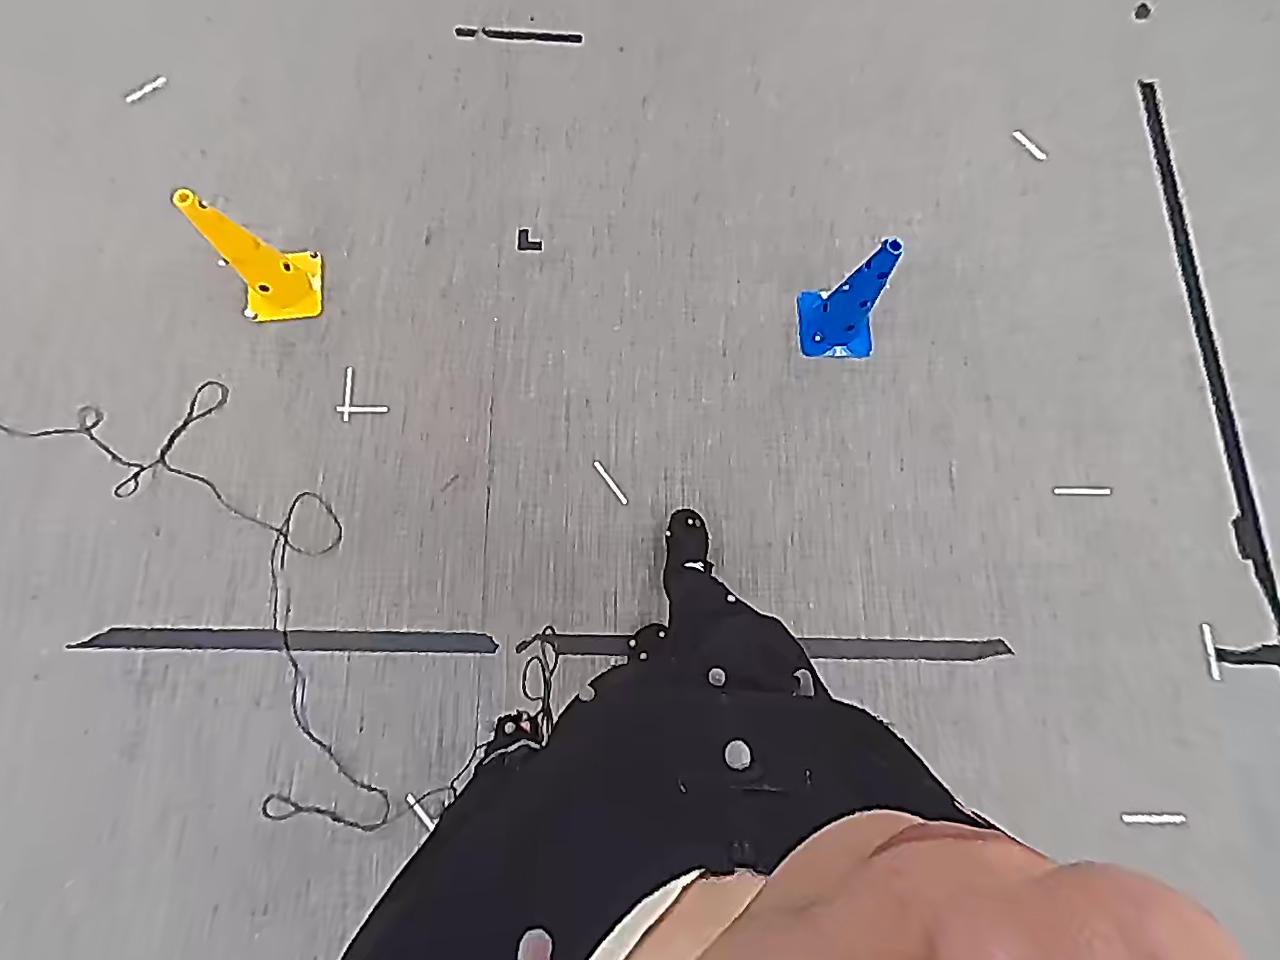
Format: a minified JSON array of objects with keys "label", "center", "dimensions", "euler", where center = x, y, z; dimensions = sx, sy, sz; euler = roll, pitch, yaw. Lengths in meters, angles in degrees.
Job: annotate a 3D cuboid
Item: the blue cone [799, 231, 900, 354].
[{"label":"blue cone","center":[0.547,-0.476,1.354],"dimensions":[0.193,0.380,0.192],"euler":[1,77,-1]}]
